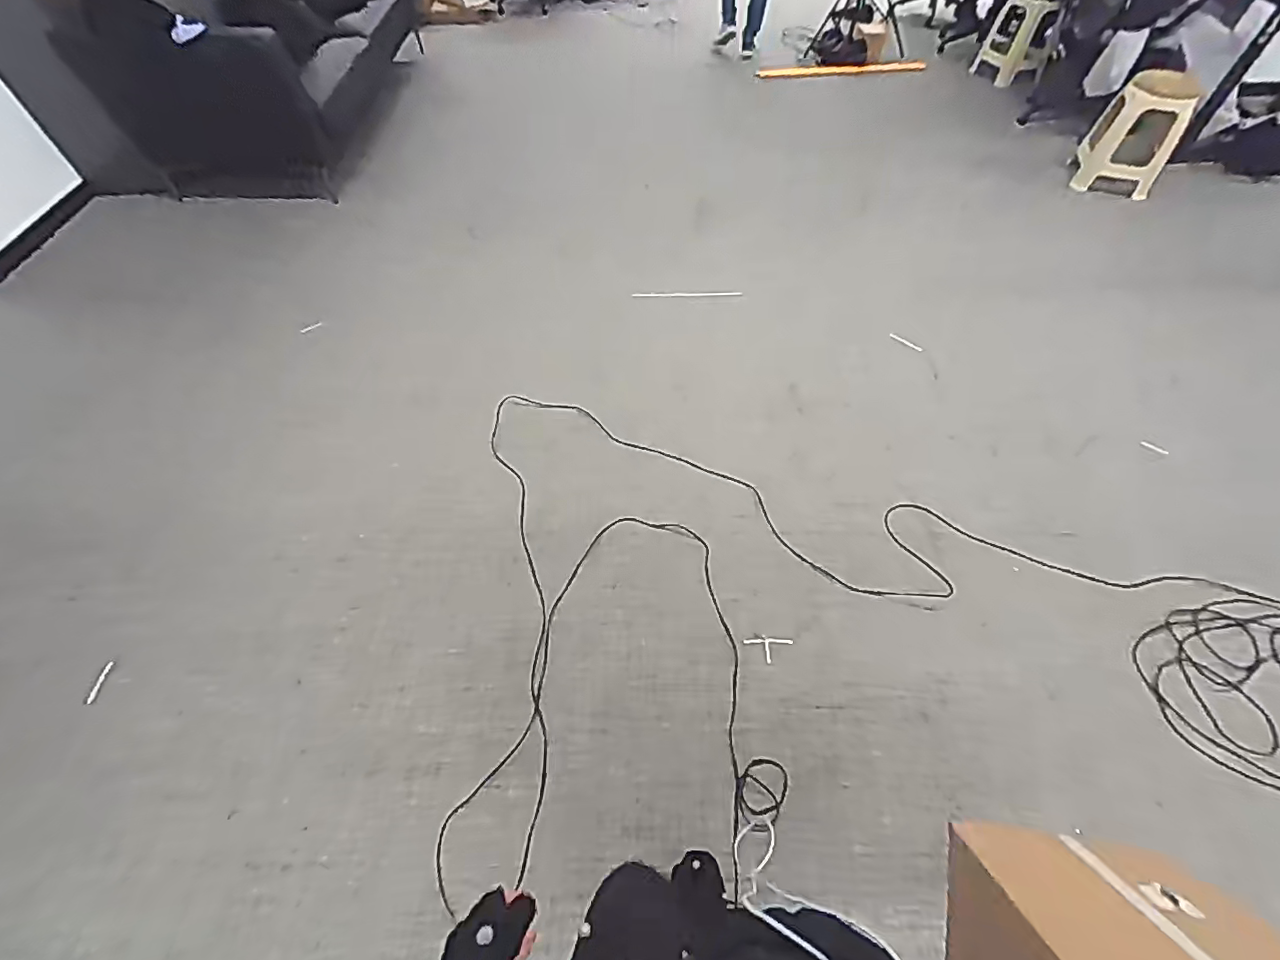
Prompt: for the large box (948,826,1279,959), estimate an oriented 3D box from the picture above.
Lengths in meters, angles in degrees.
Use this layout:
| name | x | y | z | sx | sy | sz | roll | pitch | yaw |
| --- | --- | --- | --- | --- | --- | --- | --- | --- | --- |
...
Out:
| name | x | y | z | sx | sy | sz | roll | pitch | yaw |
| --- | --- | --- | --- | --- | --- | --- | --- | --- | --- |
| large box | 0.587 | 0.672 | 0.603 | 0.320 | 0.408 | 0.320 | 5 | 85 | 9 |
